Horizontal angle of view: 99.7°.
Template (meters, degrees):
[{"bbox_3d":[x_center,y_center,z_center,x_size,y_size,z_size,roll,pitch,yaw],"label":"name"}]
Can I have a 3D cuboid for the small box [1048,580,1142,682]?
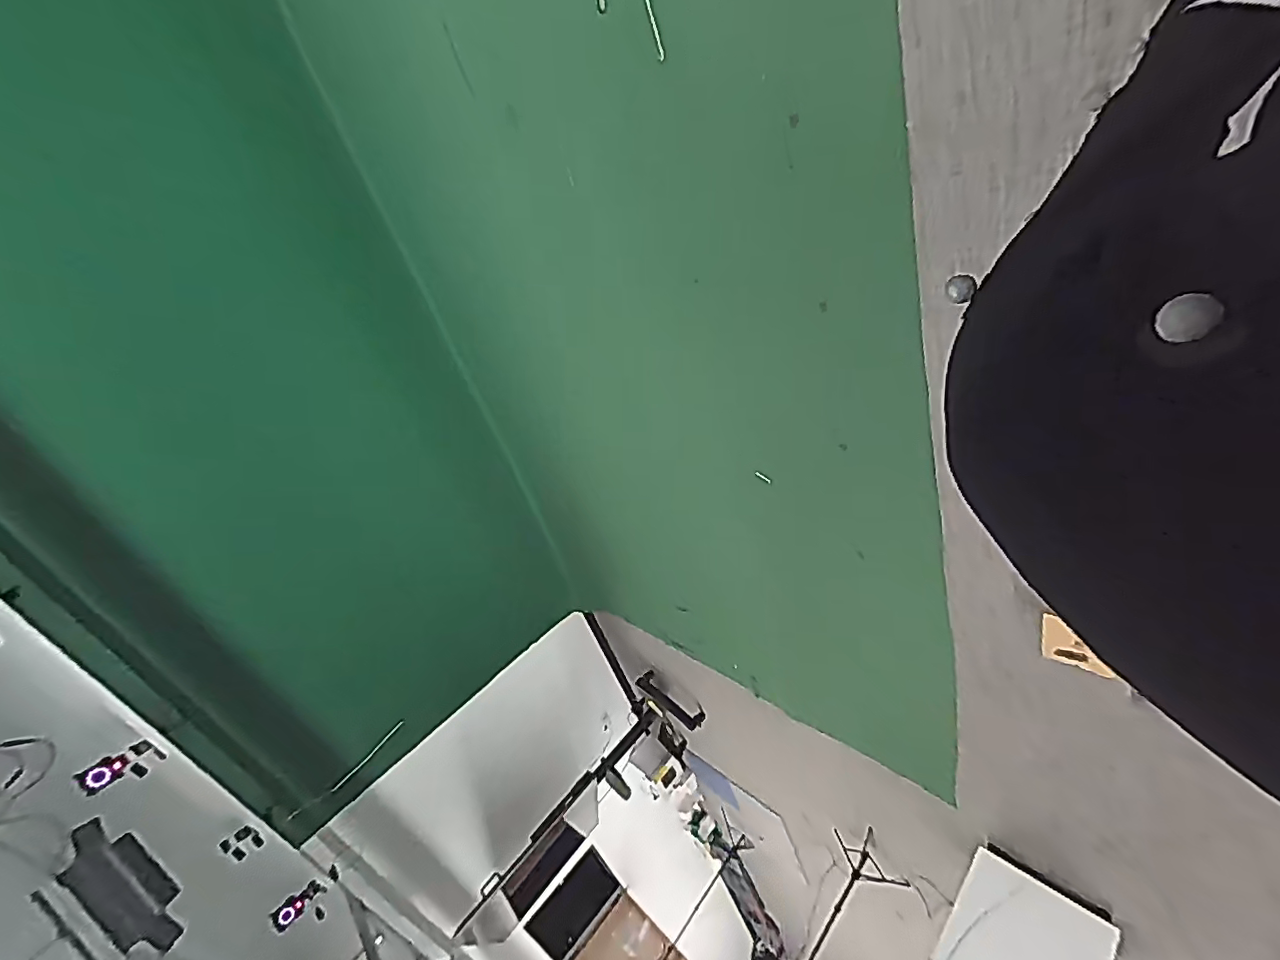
[{"bbox_3d":[1.260,0.412,1.498,0.168,0.176,0.179,13,131,49],"label":"small box"}]
